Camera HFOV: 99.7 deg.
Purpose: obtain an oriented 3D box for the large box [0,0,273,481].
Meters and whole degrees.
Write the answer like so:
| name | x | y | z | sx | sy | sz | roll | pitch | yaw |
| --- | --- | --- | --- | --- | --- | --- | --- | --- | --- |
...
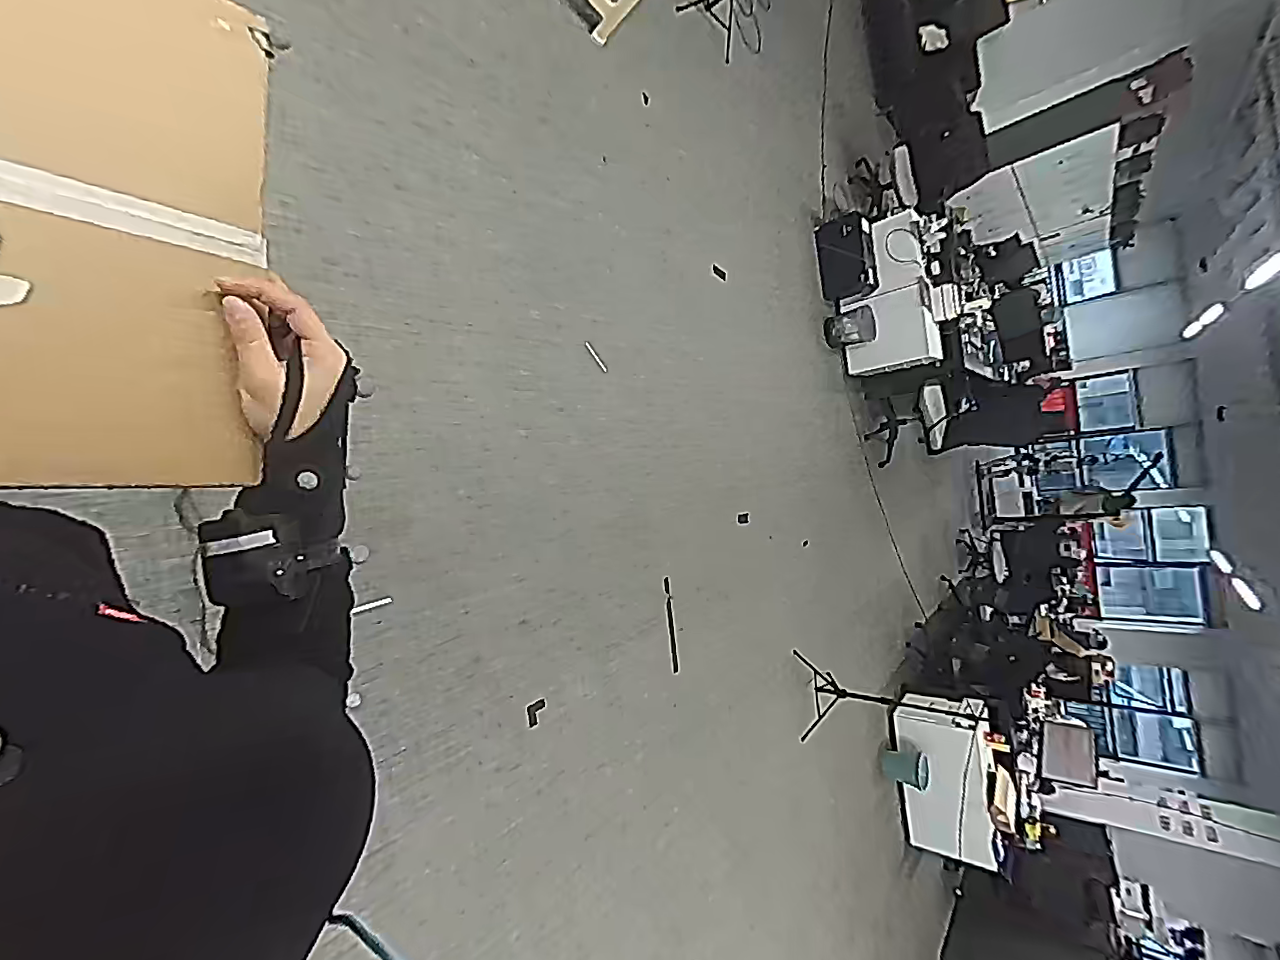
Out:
| name | x | y | z | sx | sy | sz | roll | pitch | yaw |
| --- | --- | --- | --- | --- | --- | --- | --- | --- | --- |
| large box | -0.502 | -0.157 | 0.321 | 0.408 | 0.320 | 0.320 | -1 | 93 | -50 |
